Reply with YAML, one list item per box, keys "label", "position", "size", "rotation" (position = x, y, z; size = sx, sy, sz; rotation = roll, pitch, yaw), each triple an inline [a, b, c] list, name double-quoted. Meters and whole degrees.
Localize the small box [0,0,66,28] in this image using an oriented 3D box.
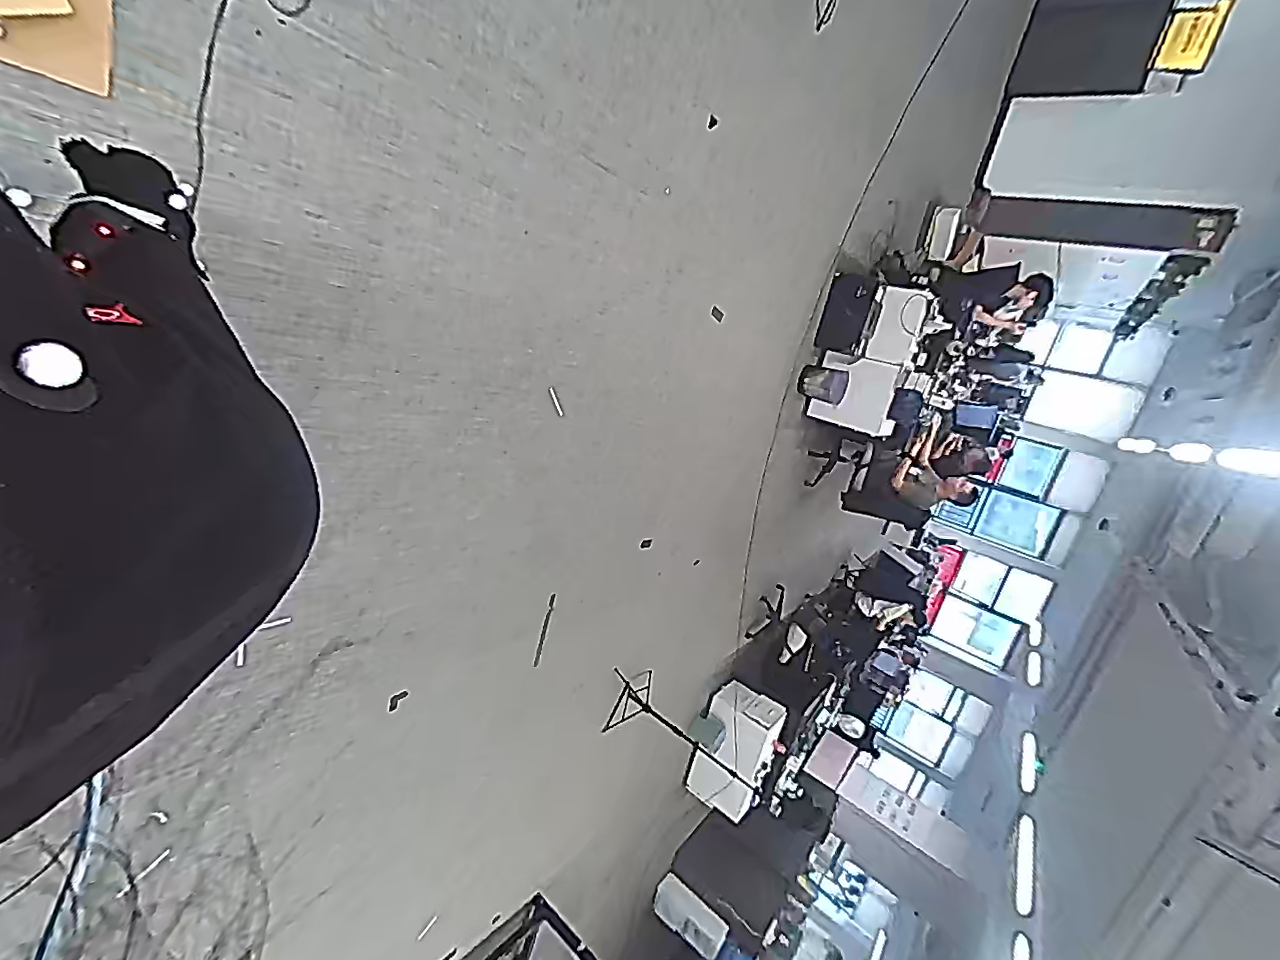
- label: "small box"
  position: [-0.977, -0.745, 0.752]
  size: [0.179, 0.176, 0.168]
  rotation: [-38, 137, -33]
